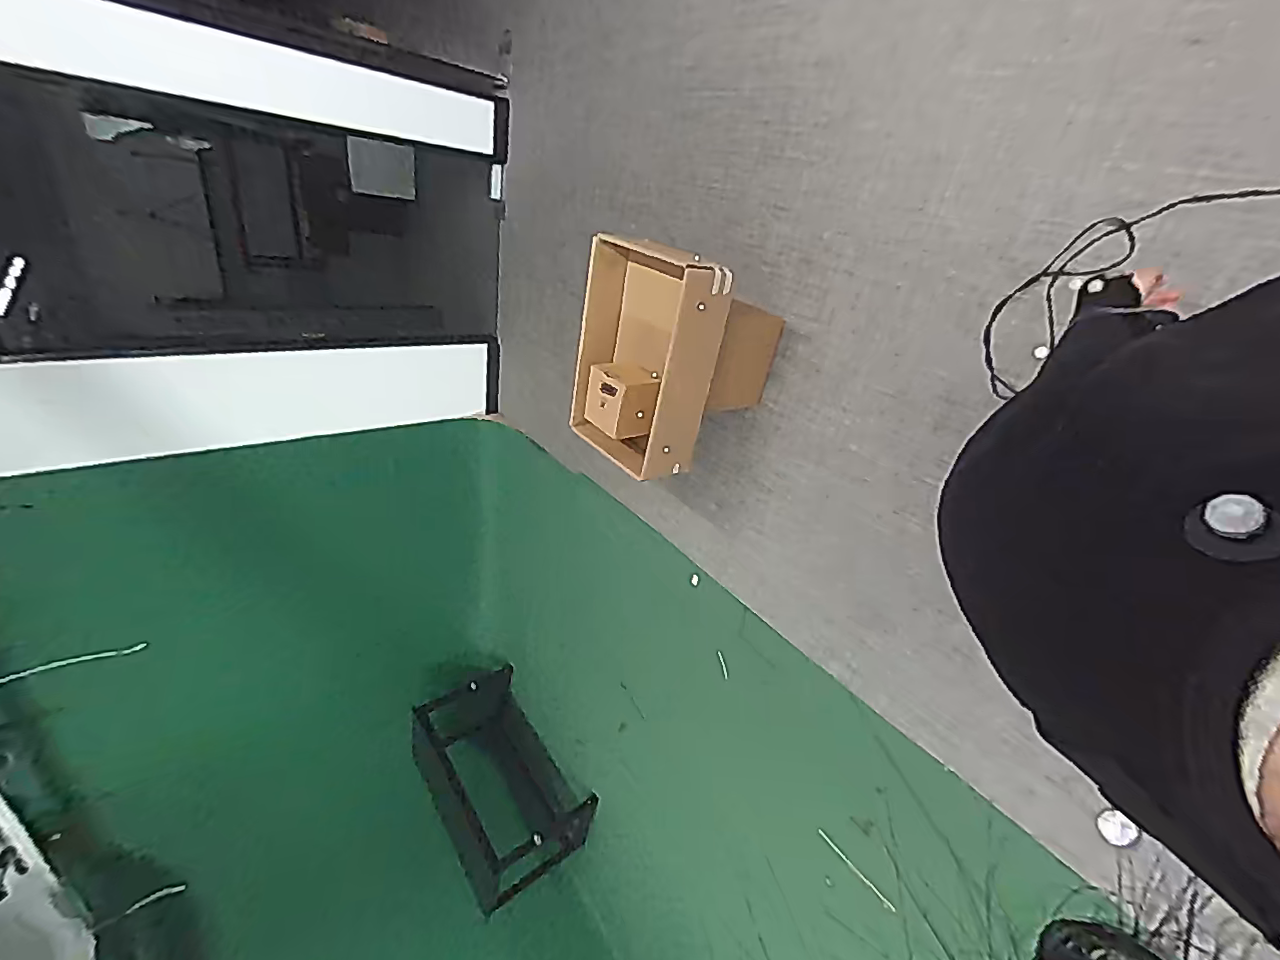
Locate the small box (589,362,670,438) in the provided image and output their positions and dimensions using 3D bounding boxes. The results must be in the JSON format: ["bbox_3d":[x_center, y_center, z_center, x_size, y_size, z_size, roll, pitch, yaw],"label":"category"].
[{"bbox_3d":[-0.030,-0.250,1.648,0.168,0.176,0.179,39,129,38],"label":"small box"}]
